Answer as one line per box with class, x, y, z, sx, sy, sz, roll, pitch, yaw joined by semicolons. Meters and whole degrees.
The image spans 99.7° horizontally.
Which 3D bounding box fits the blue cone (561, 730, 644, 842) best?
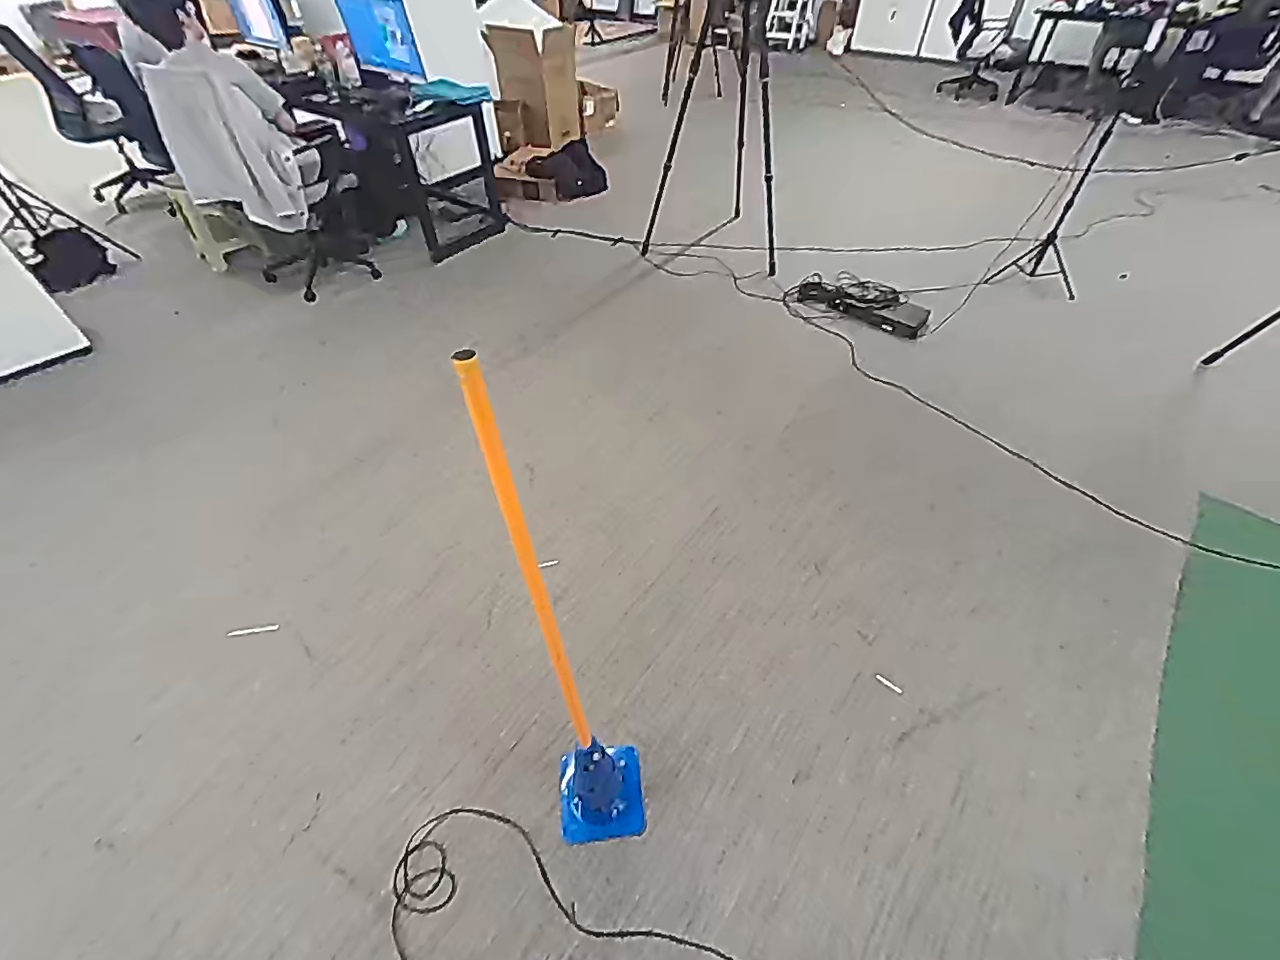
blue cone;-0.101;0.646;1.199;0.192;0.380;0.193;-7;45;-4
